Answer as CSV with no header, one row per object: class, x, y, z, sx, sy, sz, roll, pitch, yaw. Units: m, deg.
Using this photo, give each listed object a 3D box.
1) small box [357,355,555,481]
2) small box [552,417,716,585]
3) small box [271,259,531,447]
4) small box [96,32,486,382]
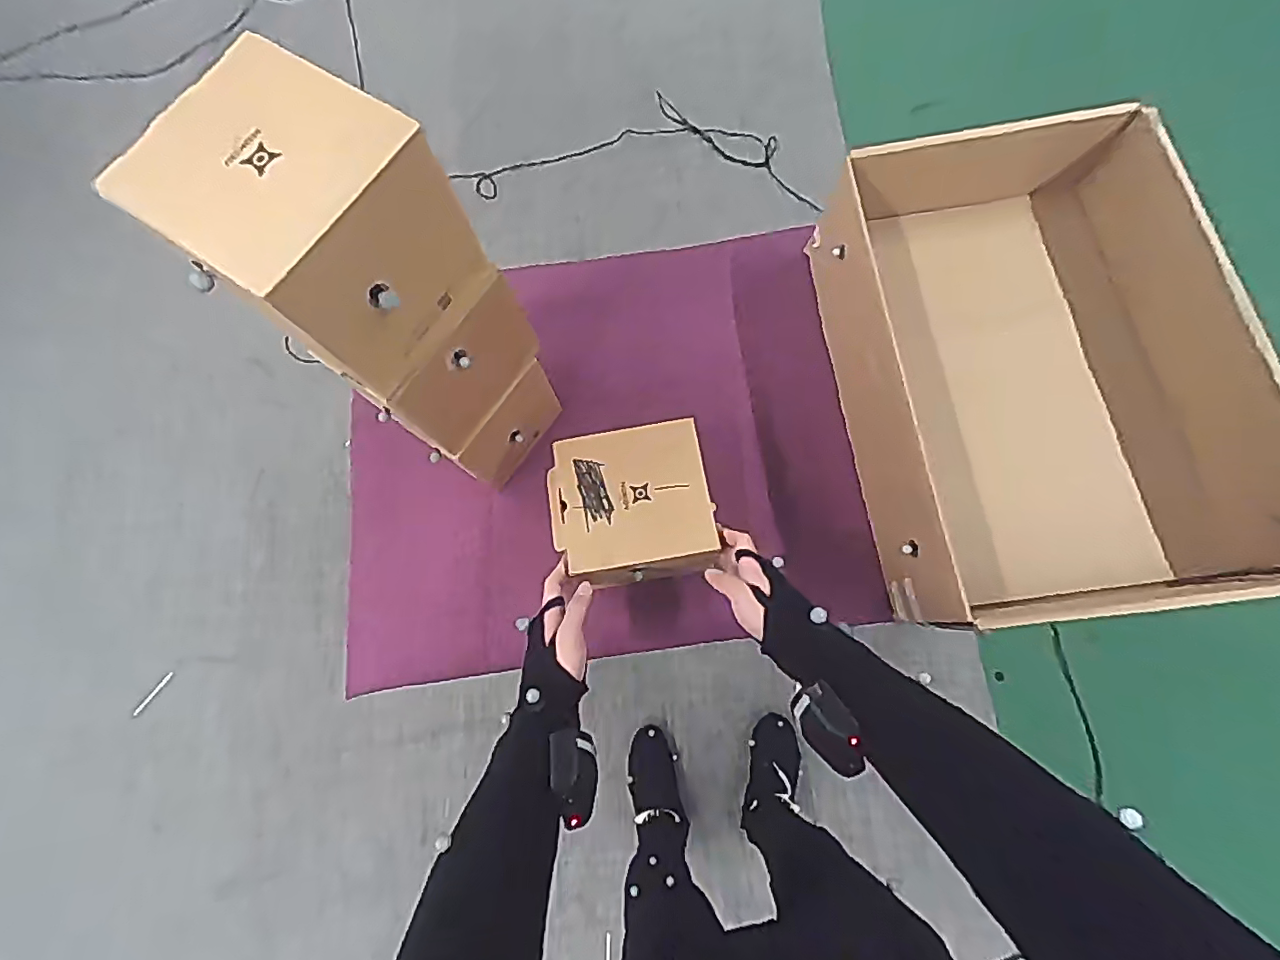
small box,-0.243,-0.115,0.765,0.179,0.176,0.168,34,79,11
small box,-0.004,0.037,0.706,0.179,0.176,0.168,-10,73,1
small box,-0.247,-0.163,0.609,0.168,0.176,0.179,34,79,10
small box,-0.261,-0.206,0.454,0.179,0.176,0.168,32,80,11
